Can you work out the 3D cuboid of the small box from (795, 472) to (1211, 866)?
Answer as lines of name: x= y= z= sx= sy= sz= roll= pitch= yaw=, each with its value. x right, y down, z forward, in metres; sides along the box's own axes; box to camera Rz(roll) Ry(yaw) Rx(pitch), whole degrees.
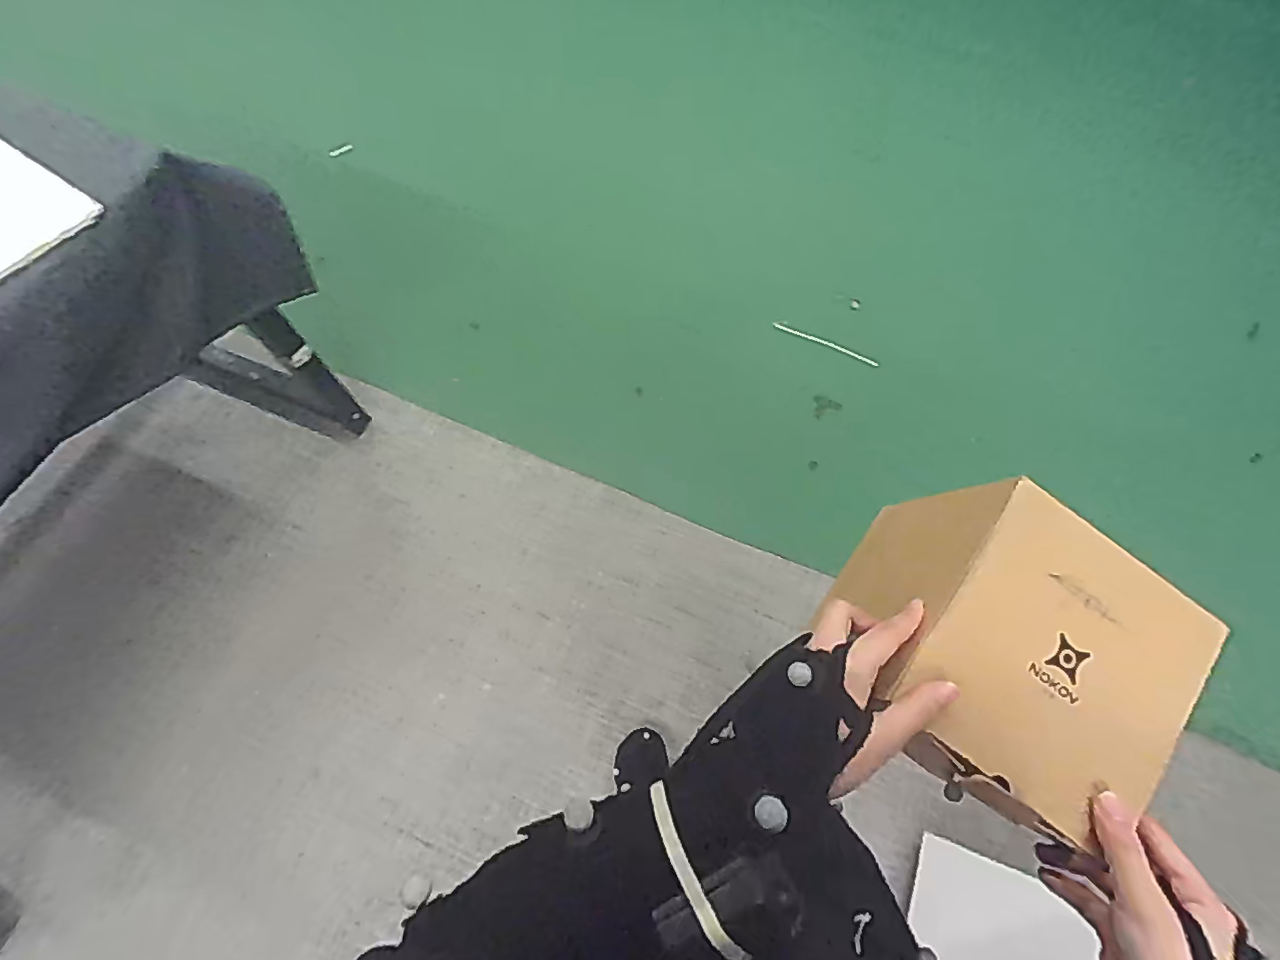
small box: x=0.243 y=0.124 z=0.408 sx=0.168 sy=0.176 sz=0.179 roll=36 pitch=77 yaw=1
